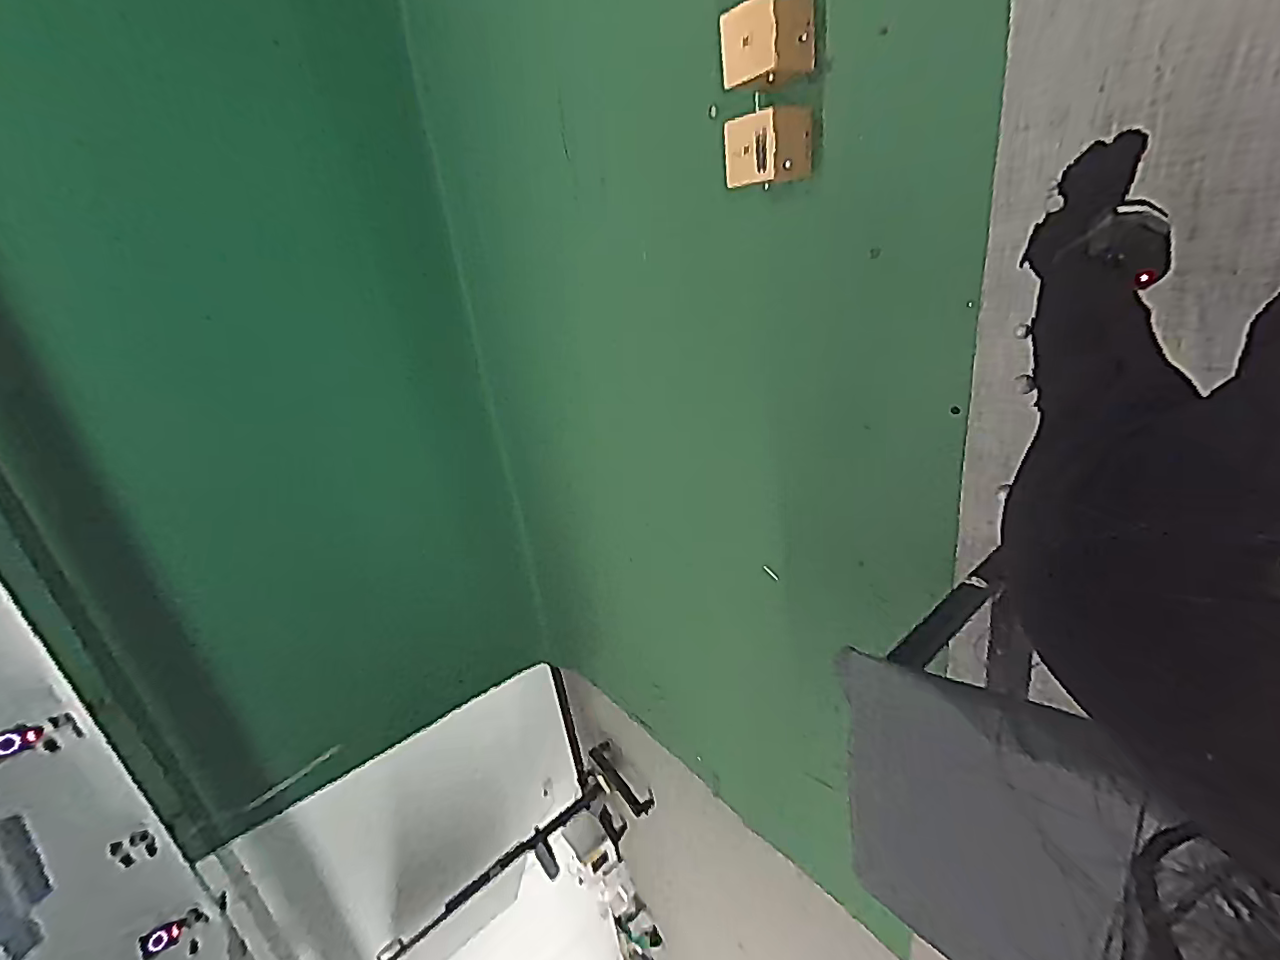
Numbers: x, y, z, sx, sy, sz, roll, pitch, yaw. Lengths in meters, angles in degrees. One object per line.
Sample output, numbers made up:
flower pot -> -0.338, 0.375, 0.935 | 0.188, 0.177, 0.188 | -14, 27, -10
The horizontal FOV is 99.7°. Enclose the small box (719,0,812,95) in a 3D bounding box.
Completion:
small box -> 0.335, -1.154, 1.443 | 0.179, 0.176, 0.168 | 16, 122, 48
